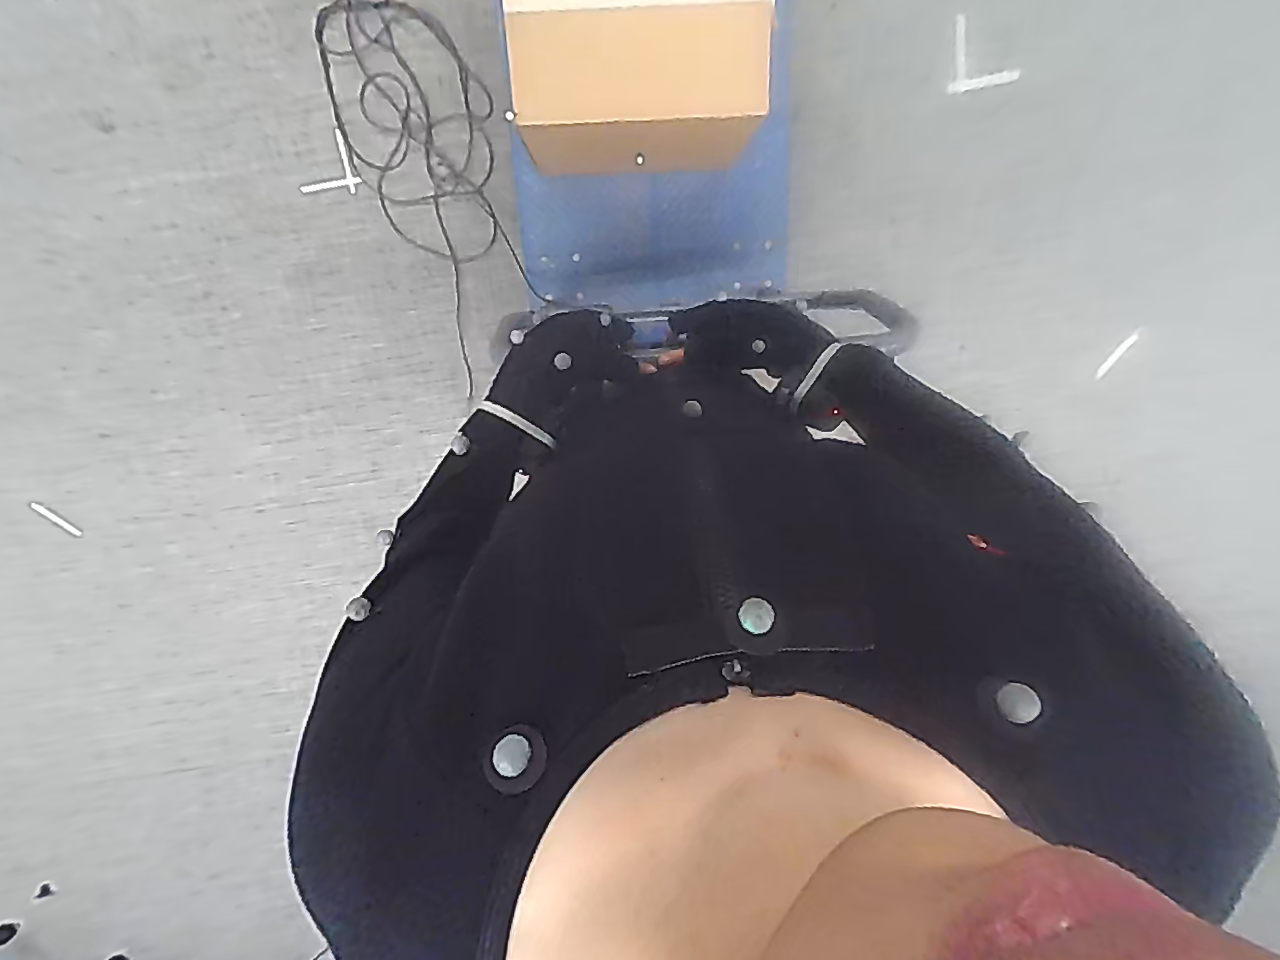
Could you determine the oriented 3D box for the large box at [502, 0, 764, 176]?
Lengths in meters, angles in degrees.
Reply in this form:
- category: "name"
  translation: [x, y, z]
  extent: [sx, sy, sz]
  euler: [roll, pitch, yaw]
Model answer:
- category: "large box"
  translation: [-0.011, -0.757, 0.962]
  extent: [0.408, 0.320, 0.320]
  euler: [-3, 105, -1]
